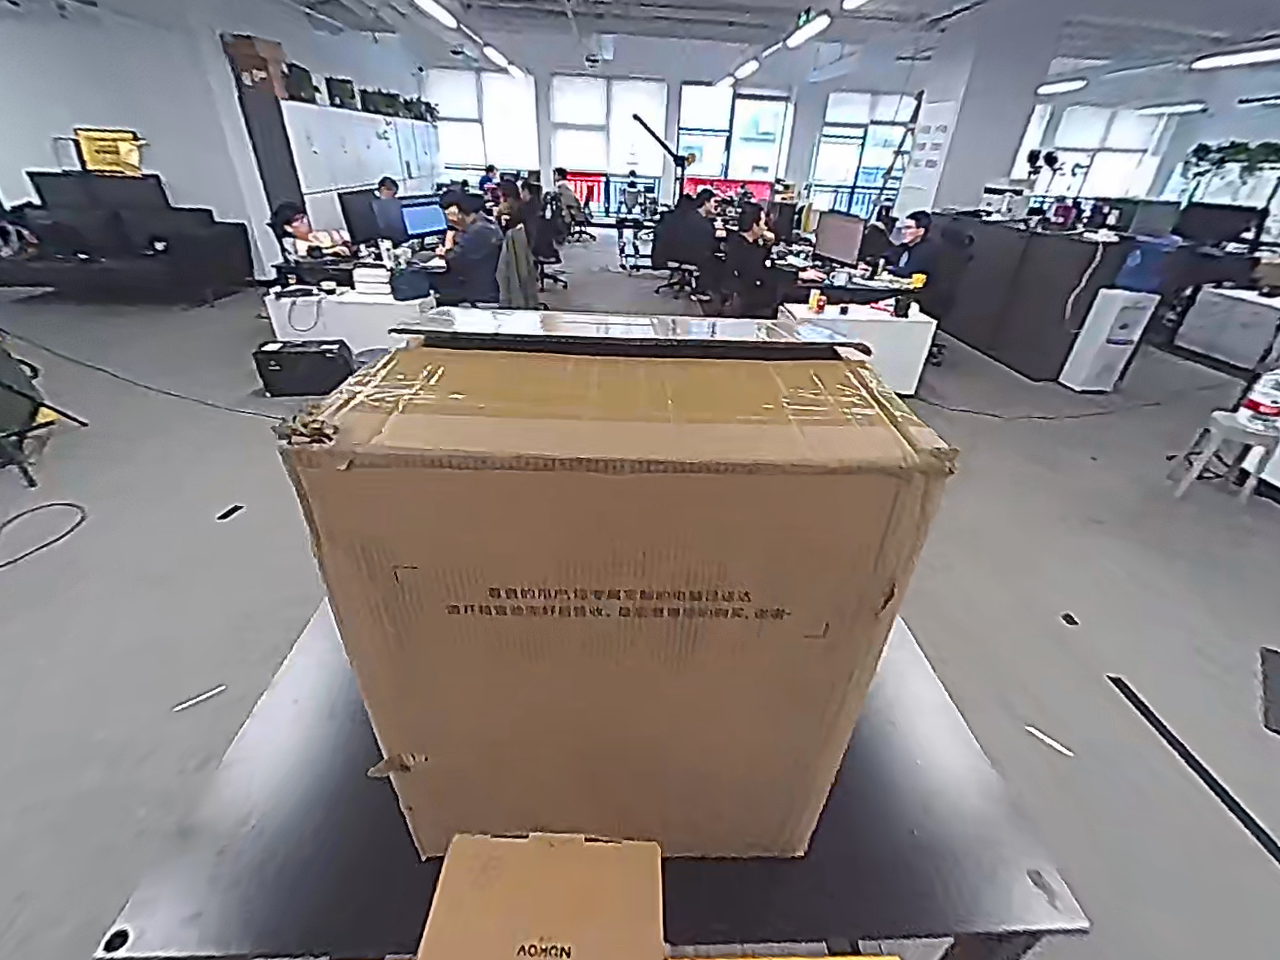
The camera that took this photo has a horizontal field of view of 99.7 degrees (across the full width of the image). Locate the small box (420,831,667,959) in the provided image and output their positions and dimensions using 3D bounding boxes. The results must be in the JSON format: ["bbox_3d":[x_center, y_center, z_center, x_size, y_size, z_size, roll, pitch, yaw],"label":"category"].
[{"bbox_3d":[-0.070,0.392,0.387,0.168,0.176,0.179,4,29,-2],"label":"small box"}]
